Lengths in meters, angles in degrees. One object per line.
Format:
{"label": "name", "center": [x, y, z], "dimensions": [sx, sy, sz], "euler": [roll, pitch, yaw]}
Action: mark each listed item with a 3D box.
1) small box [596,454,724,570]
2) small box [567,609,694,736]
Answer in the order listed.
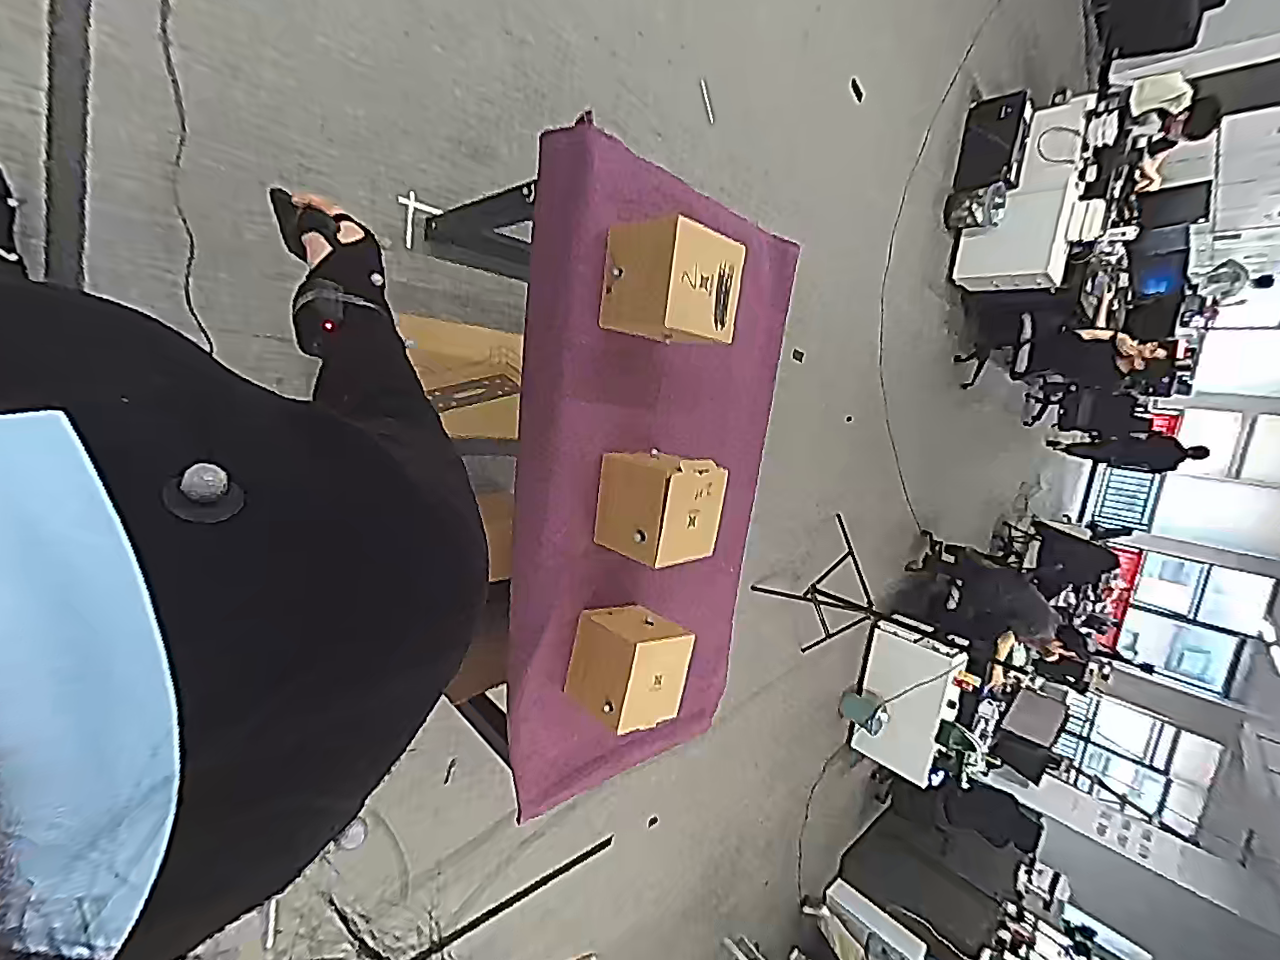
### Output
{"label": "small box", "center": [0.034, 0.053, 1.029], "dimensions": [0.168, 0.176, 0.179], "euler": [-3, 104, -46]}
{"label": "small box", "center": [-0.023, 0.364, 1.065], "dimensions": [0.168, 0.176, 0.179], "euler": [8, 97, -45]}
